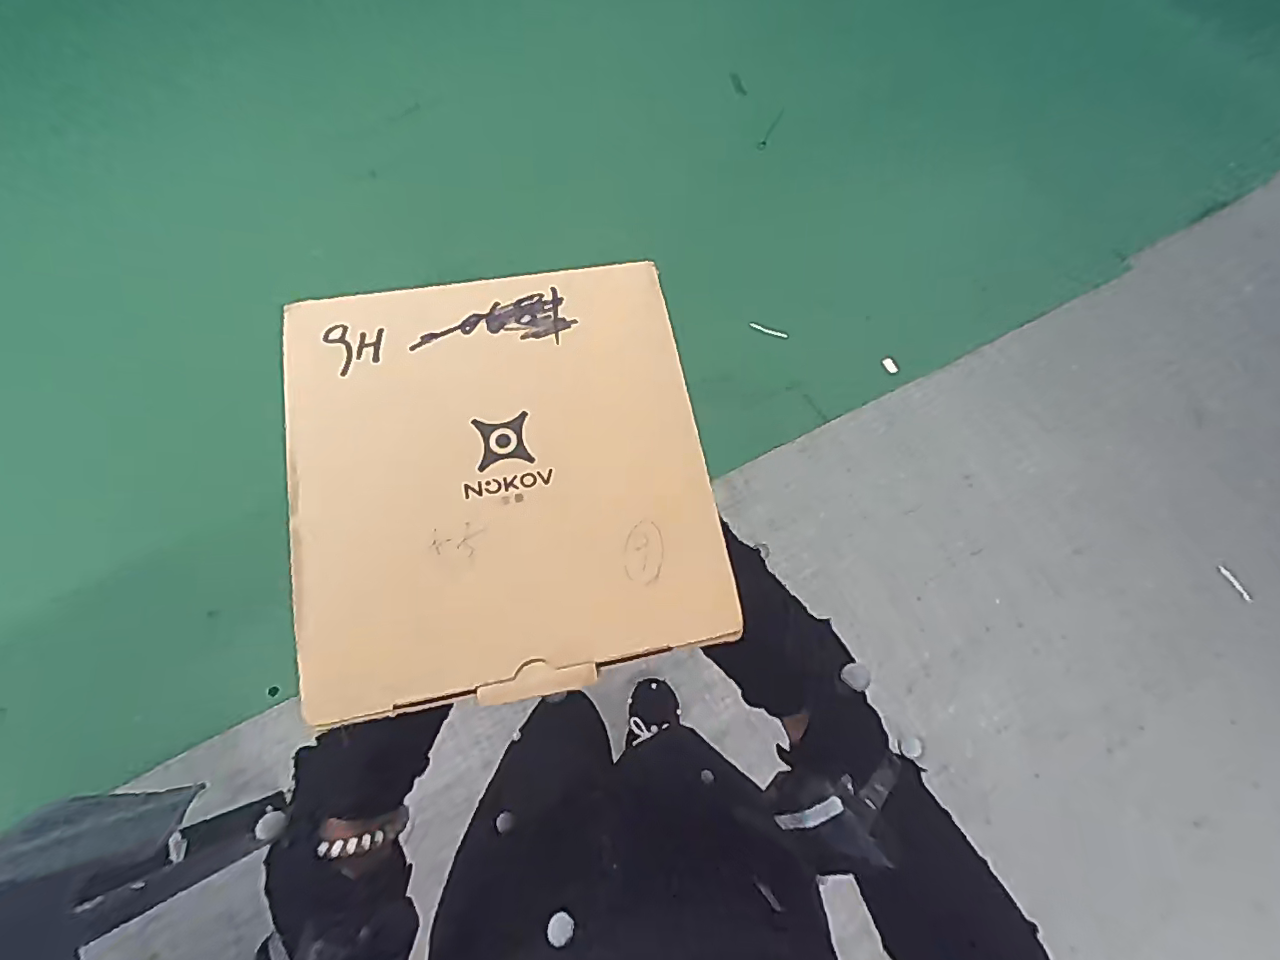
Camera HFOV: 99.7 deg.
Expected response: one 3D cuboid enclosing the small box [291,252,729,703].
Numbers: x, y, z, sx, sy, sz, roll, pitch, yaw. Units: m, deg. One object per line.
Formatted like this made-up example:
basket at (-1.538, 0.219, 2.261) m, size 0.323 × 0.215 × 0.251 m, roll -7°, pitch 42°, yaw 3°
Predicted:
small box at (-0.064, 0.007, 0.305) m, size 0.168 × 0.176 × 0.179 m, roll -10°, pitch 76°, yaw -8°
